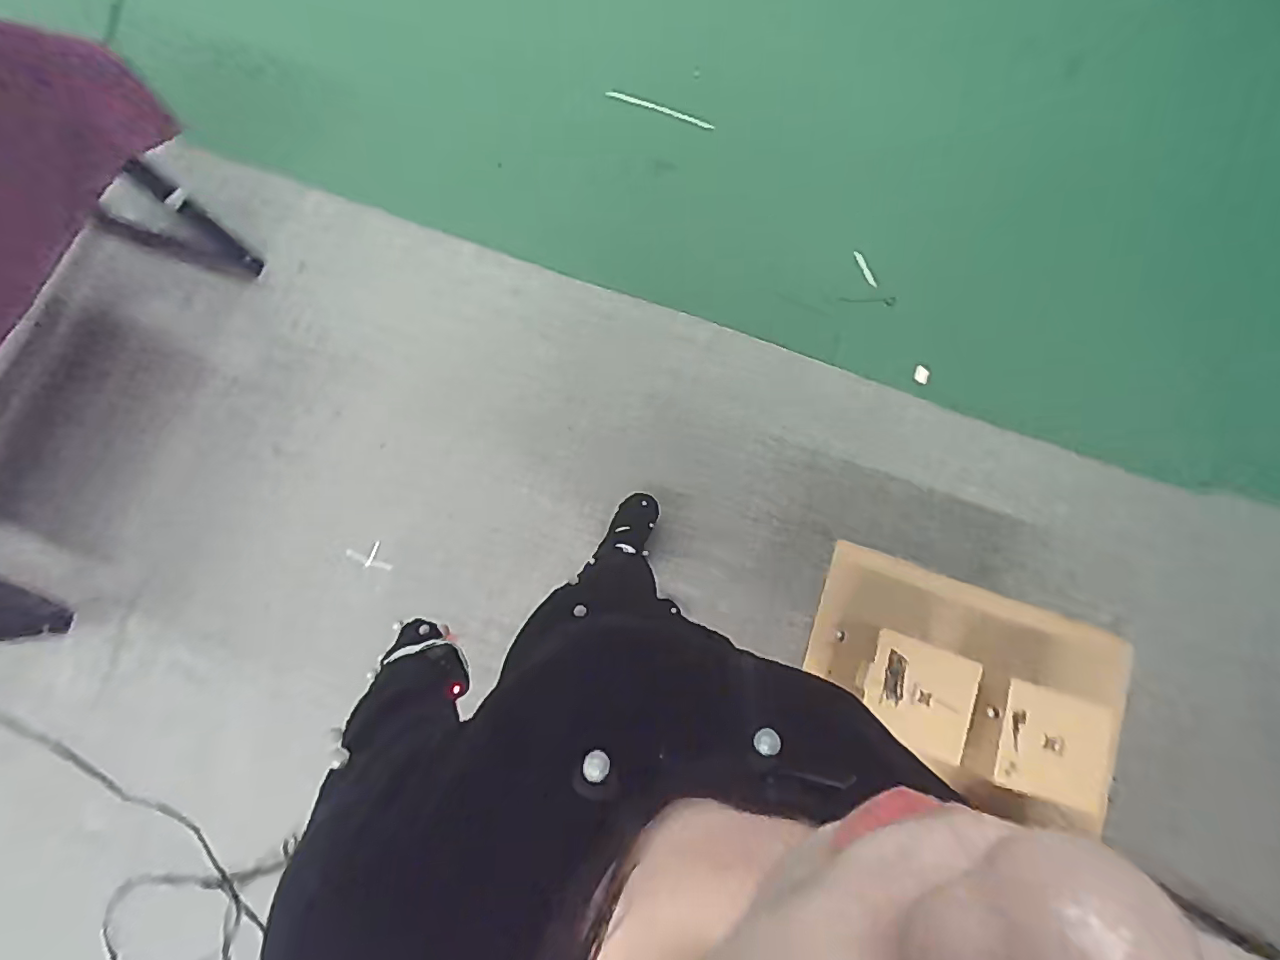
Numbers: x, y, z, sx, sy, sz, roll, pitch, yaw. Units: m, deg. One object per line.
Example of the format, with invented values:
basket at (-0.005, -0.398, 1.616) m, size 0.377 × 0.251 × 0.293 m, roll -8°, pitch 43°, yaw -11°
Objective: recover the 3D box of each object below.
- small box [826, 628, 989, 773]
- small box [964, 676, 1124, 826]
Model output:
small box at (0.445, 0.363, 0.929) m, size 0.179 × 0.176 × 0.168 m, roll 21°, pitch 80°, yaw 2°
small box at (0.653, 0.441, 0.917) m, size 0.179 × 0.176 × 0.168 m, roll 19°, pitch 79°, yaw 1°
